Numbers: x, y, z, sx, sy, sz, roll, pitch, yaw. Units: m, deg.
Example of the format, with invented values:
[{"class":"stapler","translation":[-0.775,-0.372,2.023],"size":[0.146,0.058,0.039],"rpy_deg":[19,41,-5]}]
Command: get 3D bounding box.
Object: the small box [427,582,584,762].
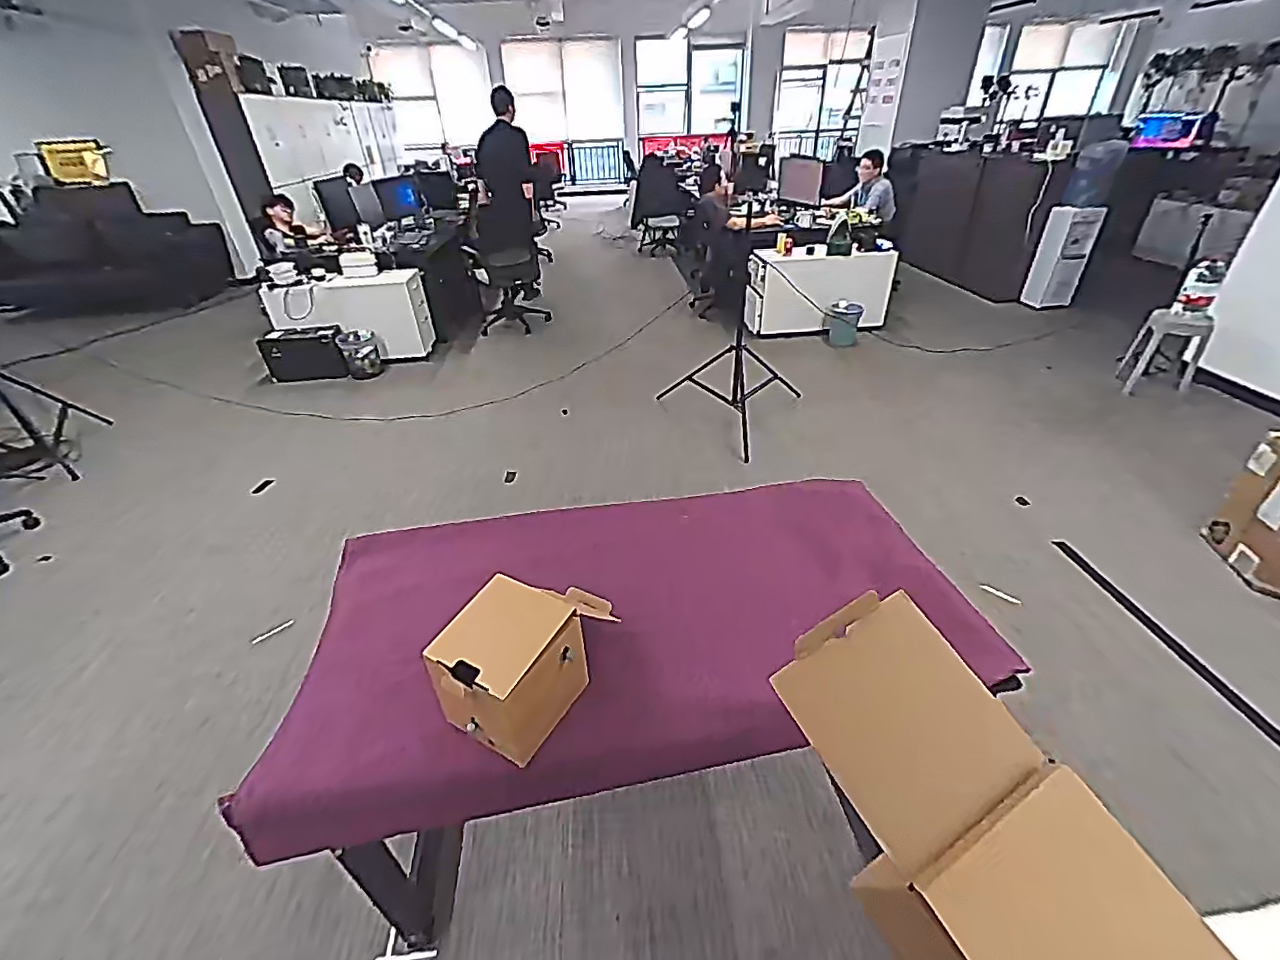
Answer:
[{"class":"small box","translation":[-0.203,0.301,0.866],"size":[0.168,0.176,0.179],"rpy_deg":[15,37,27]}]
